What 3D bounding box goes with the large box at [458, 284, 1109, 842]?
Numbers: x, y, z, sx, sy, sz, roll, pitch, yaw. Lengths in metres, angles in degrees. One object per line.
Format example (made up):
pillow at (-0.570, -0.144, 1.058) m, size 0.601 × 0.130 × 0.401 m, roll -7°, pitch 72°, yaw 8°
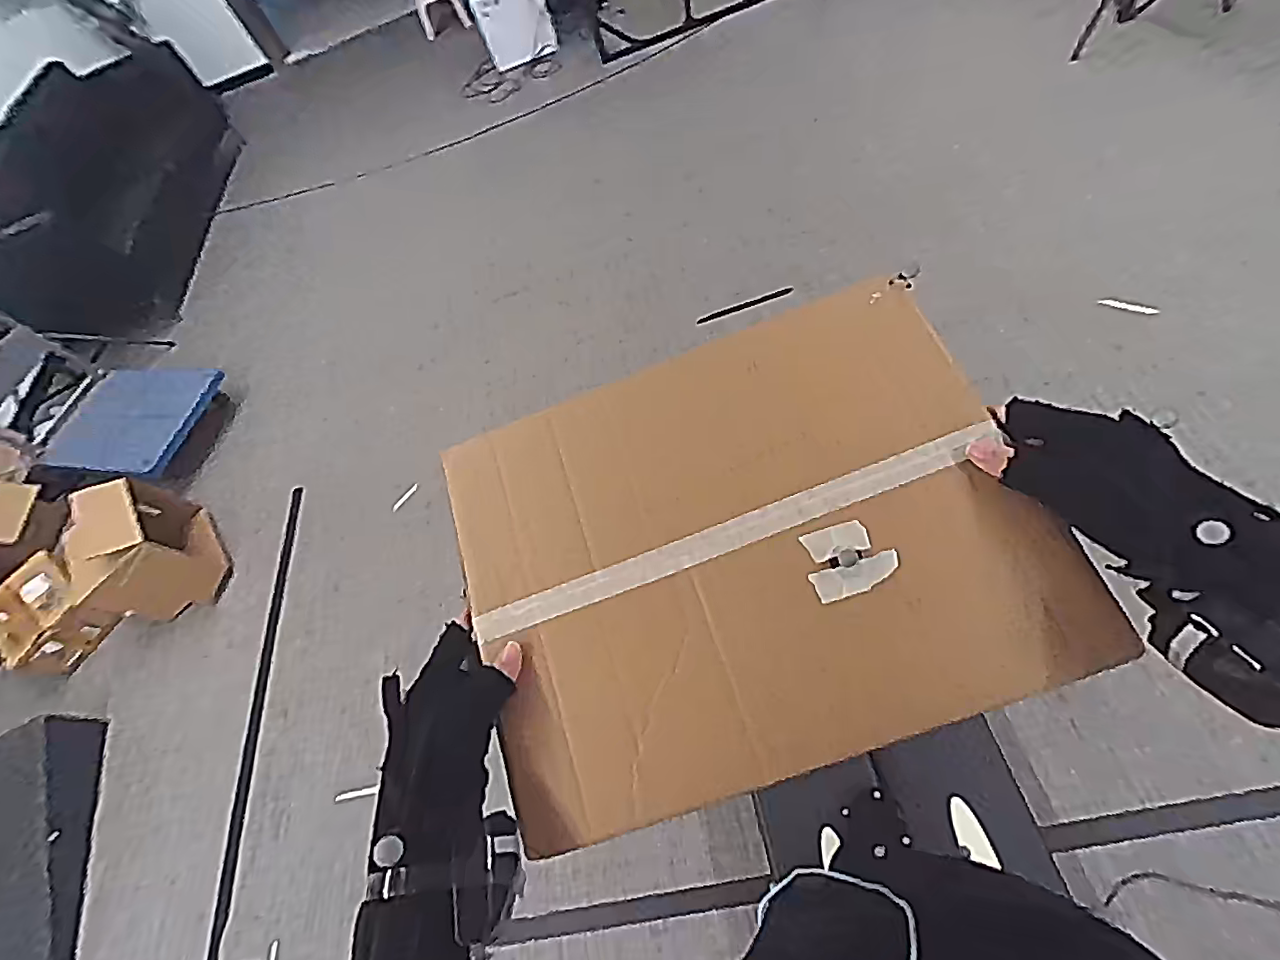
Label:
large box at (0.097, 0.089, 0.547) m, size 0.408 × 0.320 × 0.320 m, roll -22°, pitch 69°, yaw 4°
